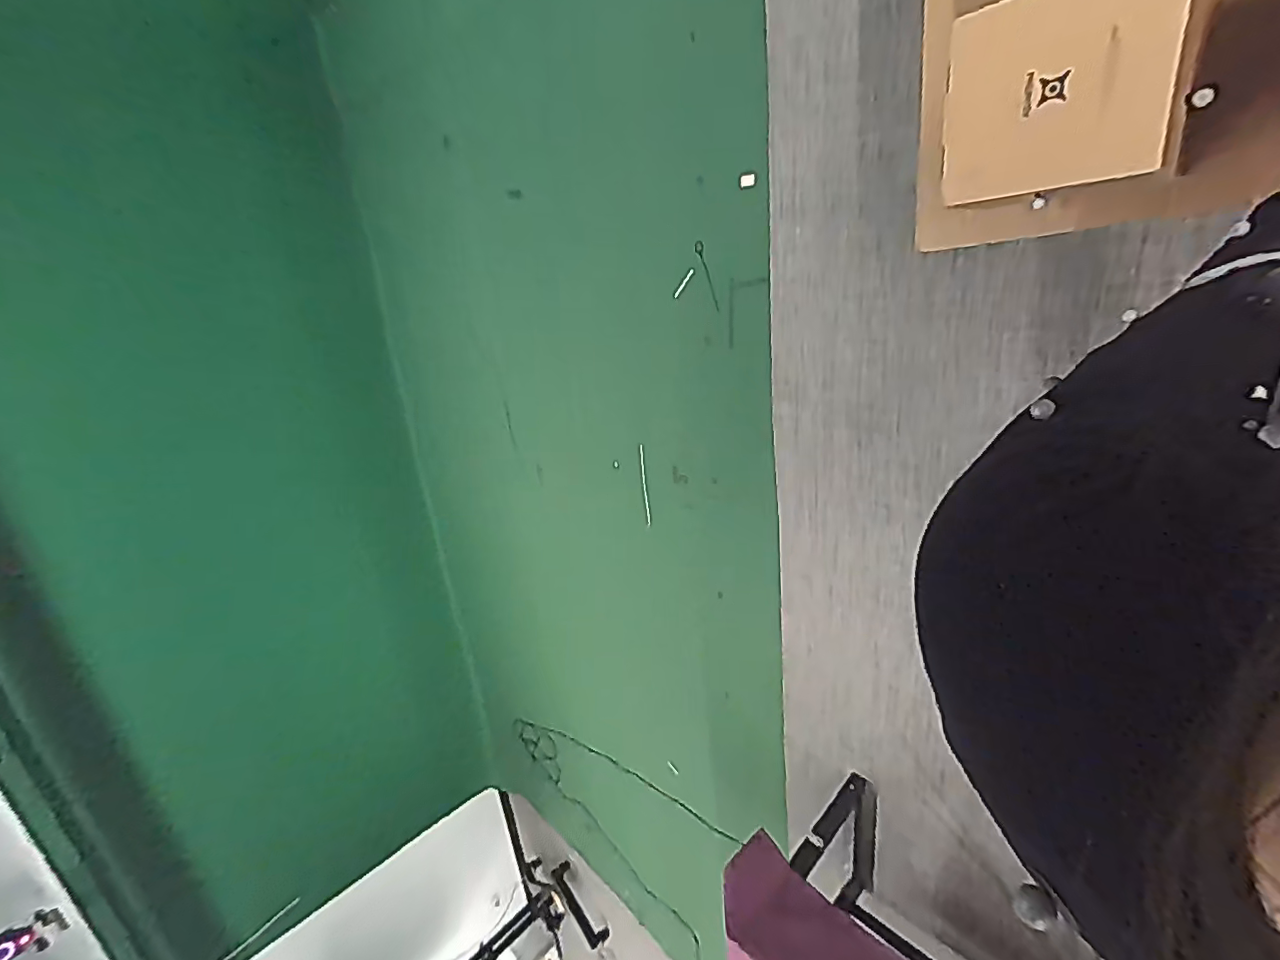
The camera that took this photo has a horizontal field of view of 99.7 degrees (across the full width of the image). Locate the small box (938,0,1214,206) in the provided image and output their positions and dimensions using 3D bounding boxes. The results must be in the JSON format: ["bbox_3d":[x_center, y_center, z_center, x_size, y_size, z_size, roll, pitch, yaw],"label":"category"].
[{"bbox_3d":[0.430,-0.379,0.543,0.179,0.176,0.168,15,119,44],"label":"small box"}]
